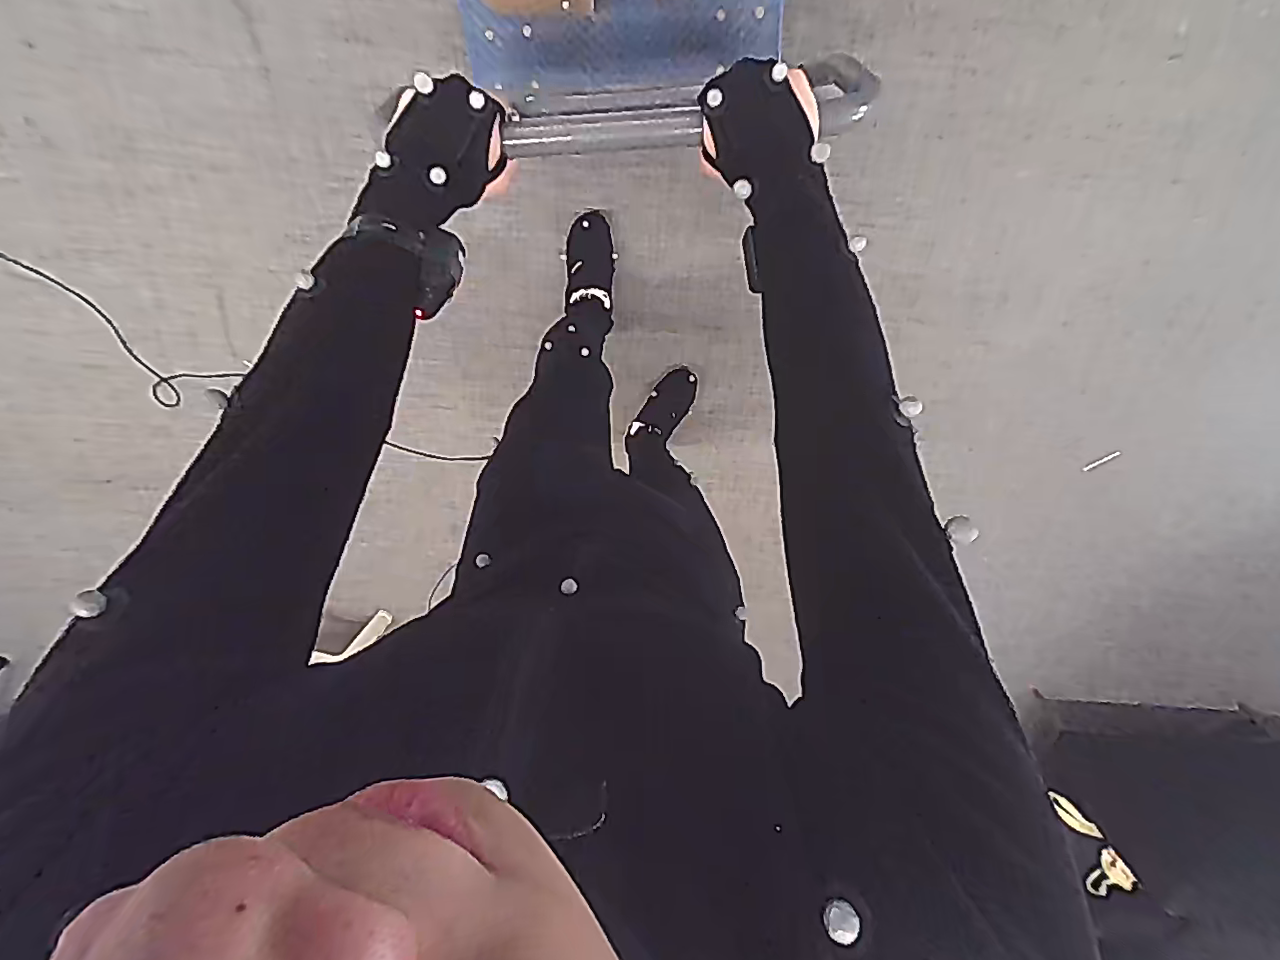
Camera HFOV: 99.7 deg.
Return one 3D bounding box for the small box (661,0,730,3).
[{"bbox_3d":[0.103,-0.898,0.860,0.168,0.176,0.179,-2,120,2],"label":"small box"}]
